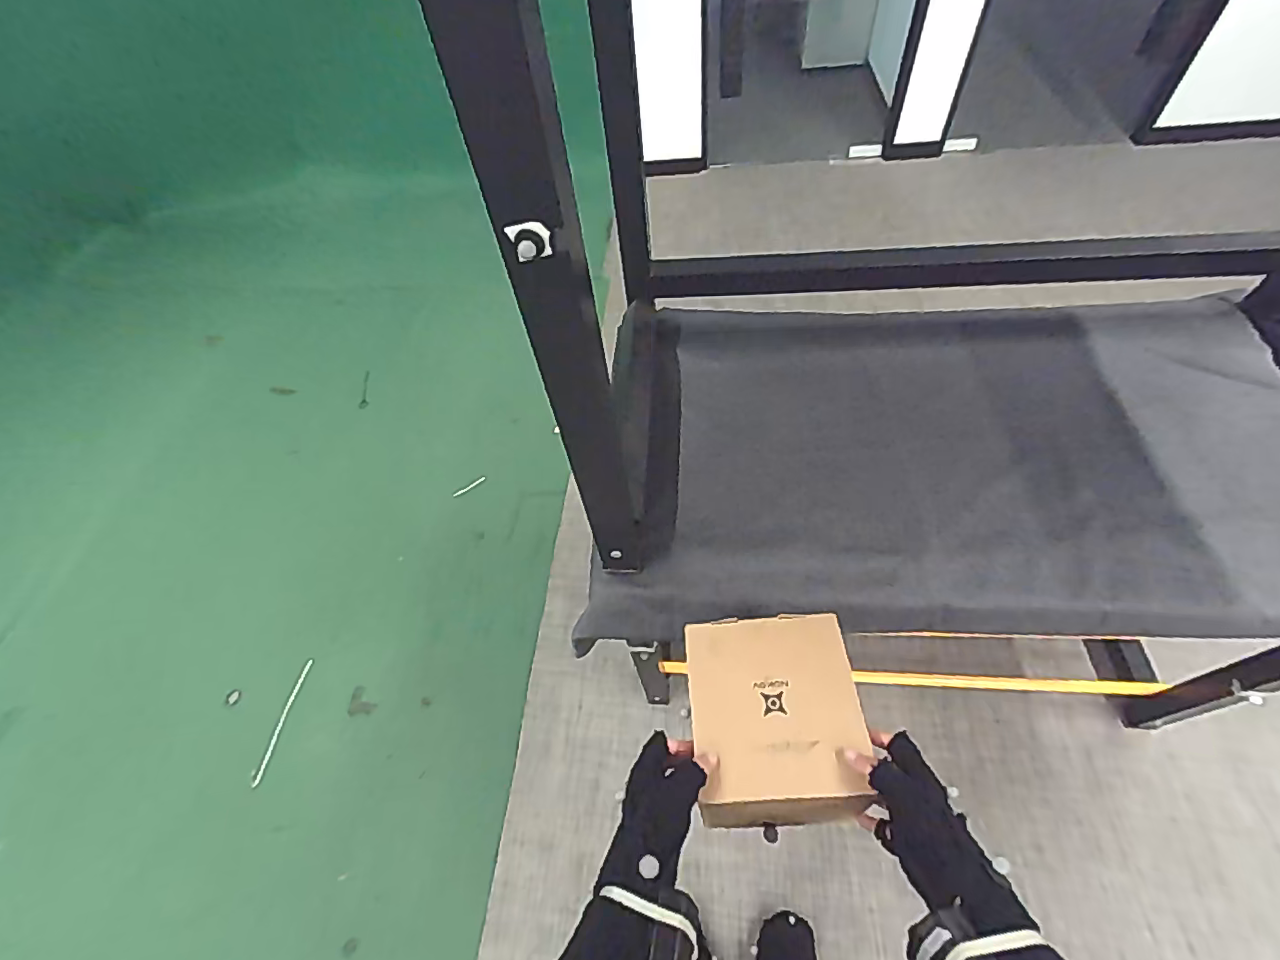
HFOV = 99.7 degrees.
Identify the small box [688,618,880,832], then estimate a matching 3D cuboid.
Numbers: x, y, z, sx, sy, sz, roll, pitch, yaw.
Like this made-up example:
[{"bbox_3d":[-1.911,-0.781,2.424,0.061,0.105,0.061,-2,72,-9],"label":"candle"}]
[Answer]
[{"bbox_3d":[0.144,0.276,0.604,0.168,0.176,0.179,-6,50,6],"label":"small box"}]
